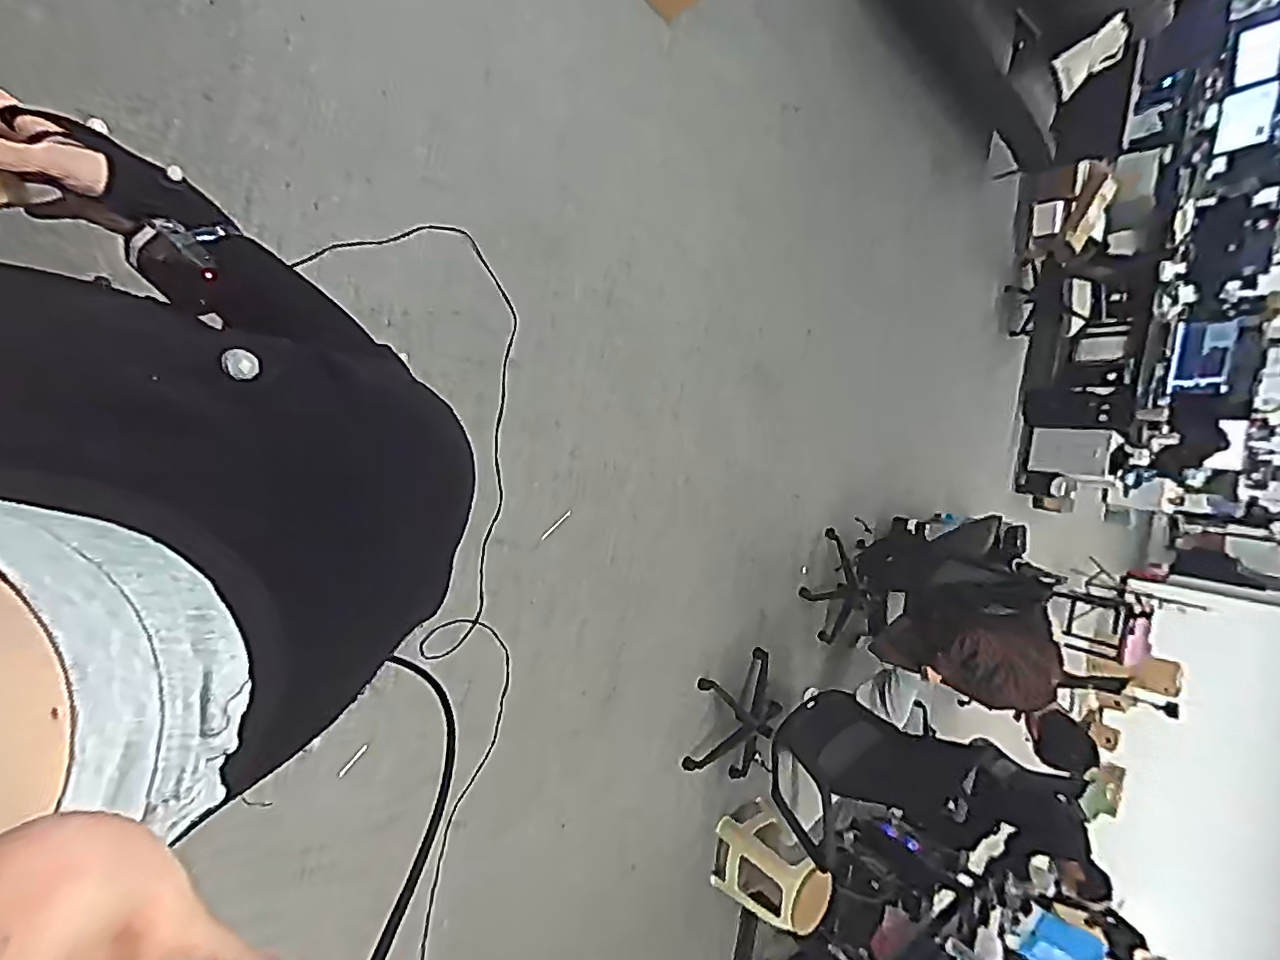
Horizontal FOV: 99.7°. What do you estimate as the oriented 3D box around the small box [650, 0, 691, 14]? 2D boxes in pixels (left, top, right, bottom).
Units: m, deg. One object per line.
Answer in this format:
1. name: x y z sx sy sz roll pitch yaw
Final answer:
1. small box: 0.102 -1.704 1.788 0.179 0.176 0.168 8 91 -39
